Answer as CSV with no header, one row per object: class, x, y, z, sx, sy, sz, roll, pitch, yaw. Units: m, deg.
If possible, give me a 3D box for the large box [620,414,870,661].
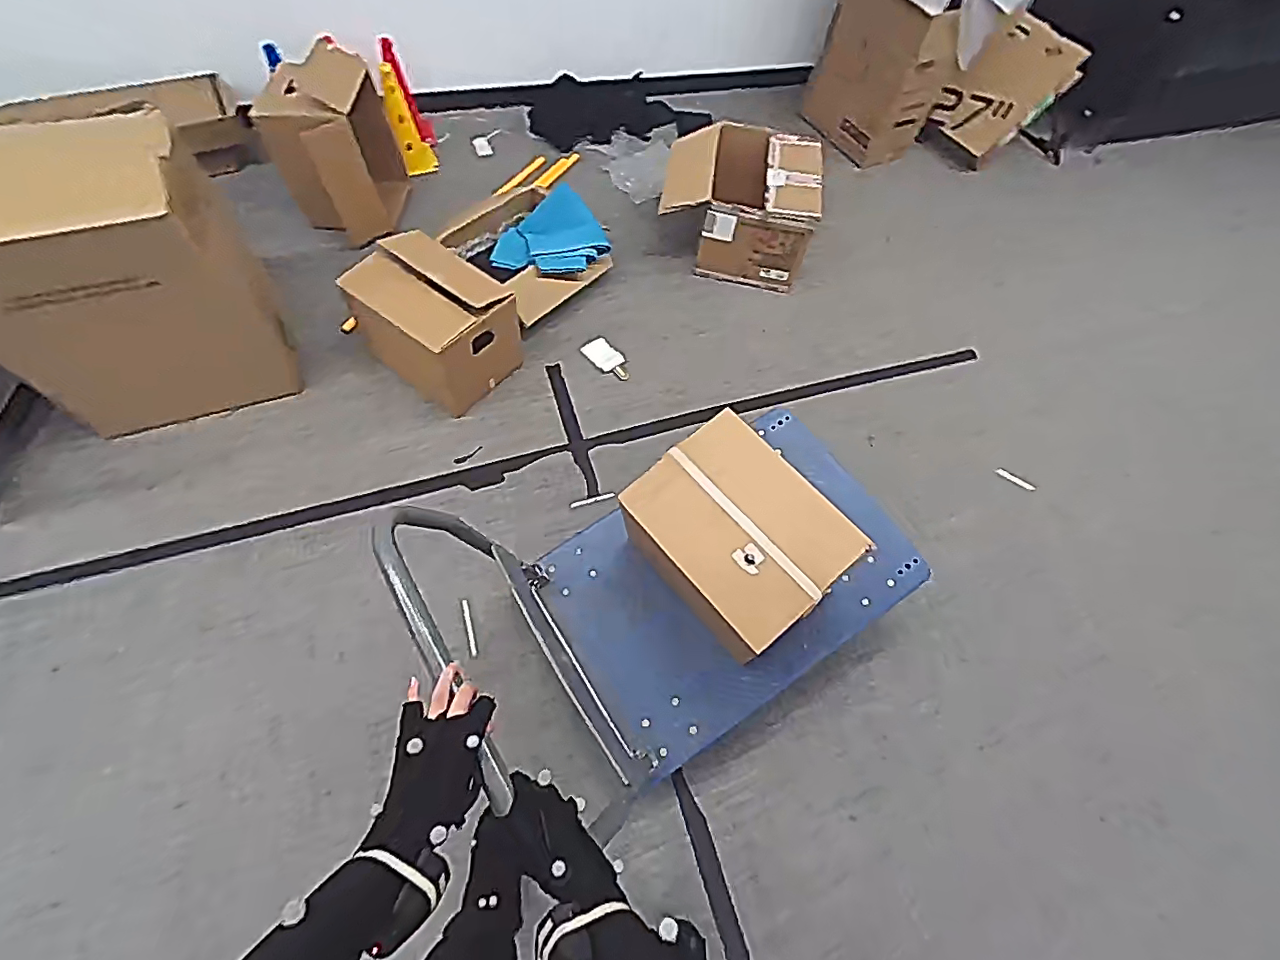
large box,0.205,0.138,1.202,0.320,0.320,0.408,-40,72,-12
